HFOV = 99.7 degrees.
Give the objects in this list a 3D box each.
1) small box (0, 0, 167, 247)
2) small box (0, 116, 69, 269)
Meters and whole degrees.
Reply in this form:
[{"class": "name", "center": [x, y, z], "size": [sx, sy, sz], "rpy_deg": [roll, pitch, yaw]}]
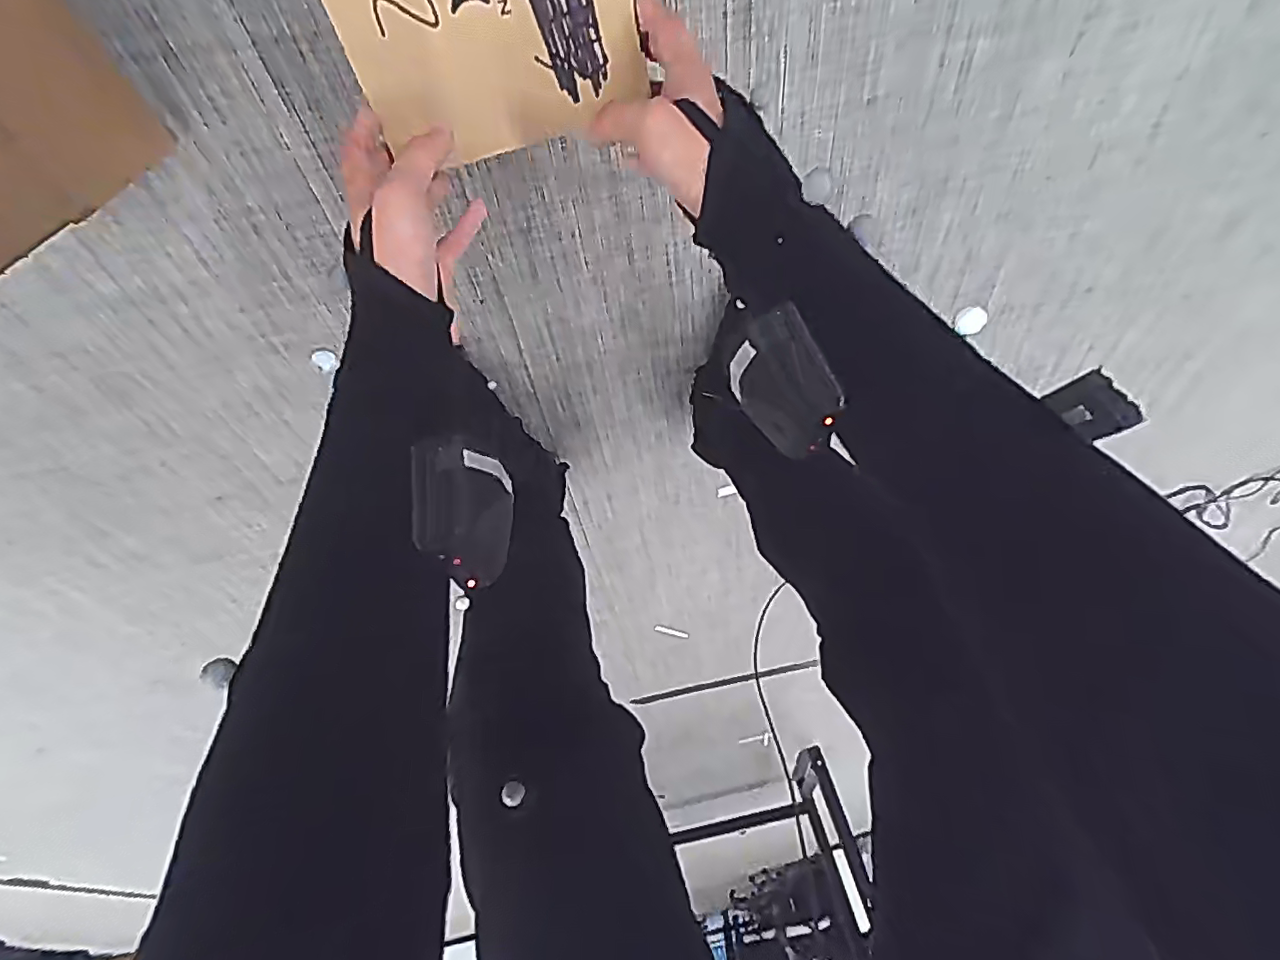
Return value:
[{"class": "small box", "center": [-0.479, -0.256, 0.350], "size": [0.168, 0.176, 0.179], "rpy_deg": [-15, 138, 2]}, {"class": "small box", "center": [-0.438, -0.144, 0.237], "size": [0.179, 0.176, 0.168], "rpy_deg": [-15, 138, 2]}]
